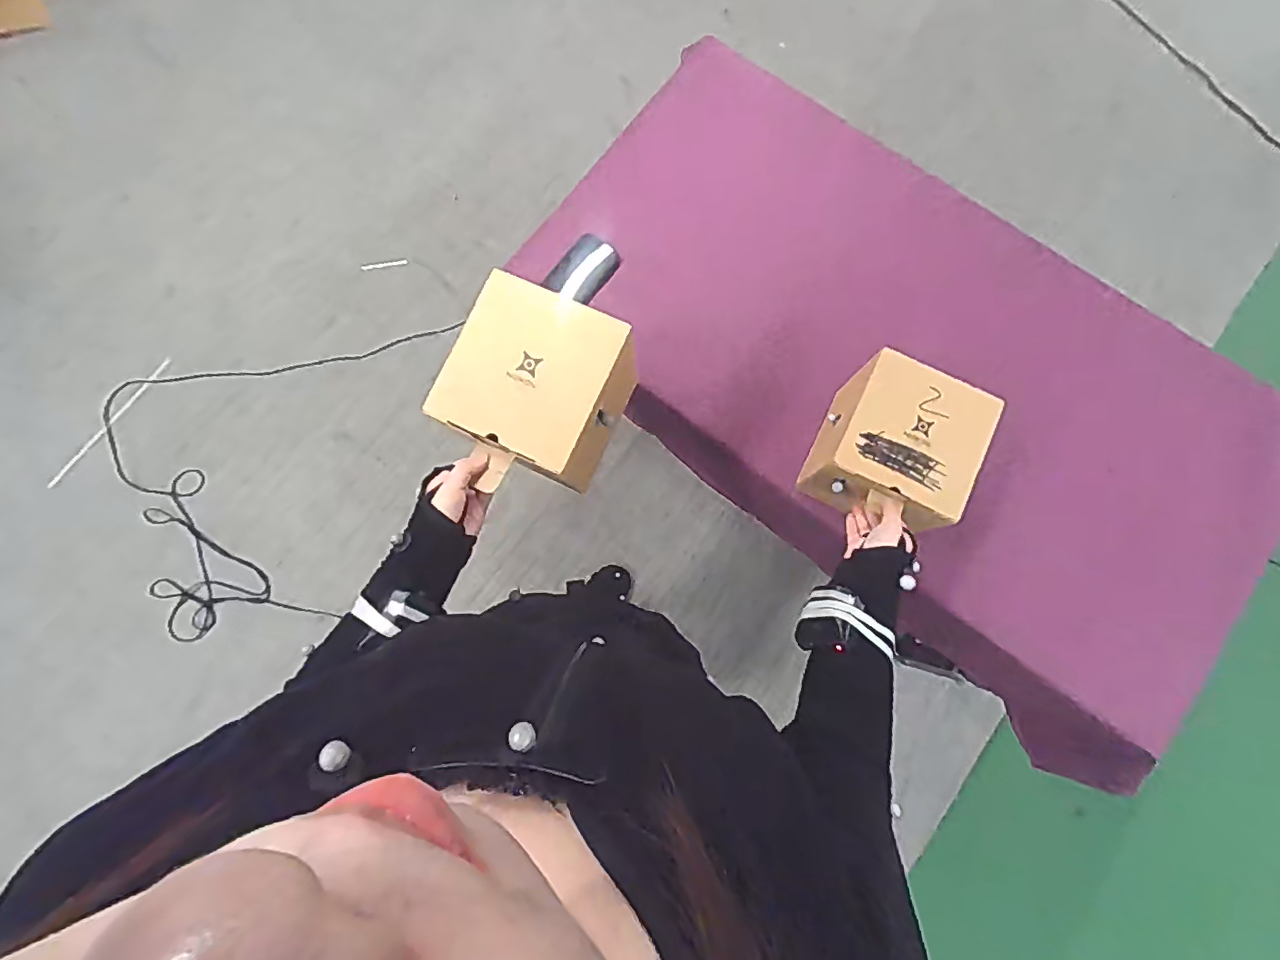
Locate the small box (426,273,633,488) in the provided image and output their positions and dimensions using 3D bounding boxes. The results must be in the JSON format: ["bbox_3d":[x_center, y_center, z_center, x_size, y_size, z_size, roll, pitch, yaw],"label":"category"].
[{"bbox_3d":[-0.117,-0.105,0.651,0.168,0.176,0.179,25,85,5],"label":"small box"}]
